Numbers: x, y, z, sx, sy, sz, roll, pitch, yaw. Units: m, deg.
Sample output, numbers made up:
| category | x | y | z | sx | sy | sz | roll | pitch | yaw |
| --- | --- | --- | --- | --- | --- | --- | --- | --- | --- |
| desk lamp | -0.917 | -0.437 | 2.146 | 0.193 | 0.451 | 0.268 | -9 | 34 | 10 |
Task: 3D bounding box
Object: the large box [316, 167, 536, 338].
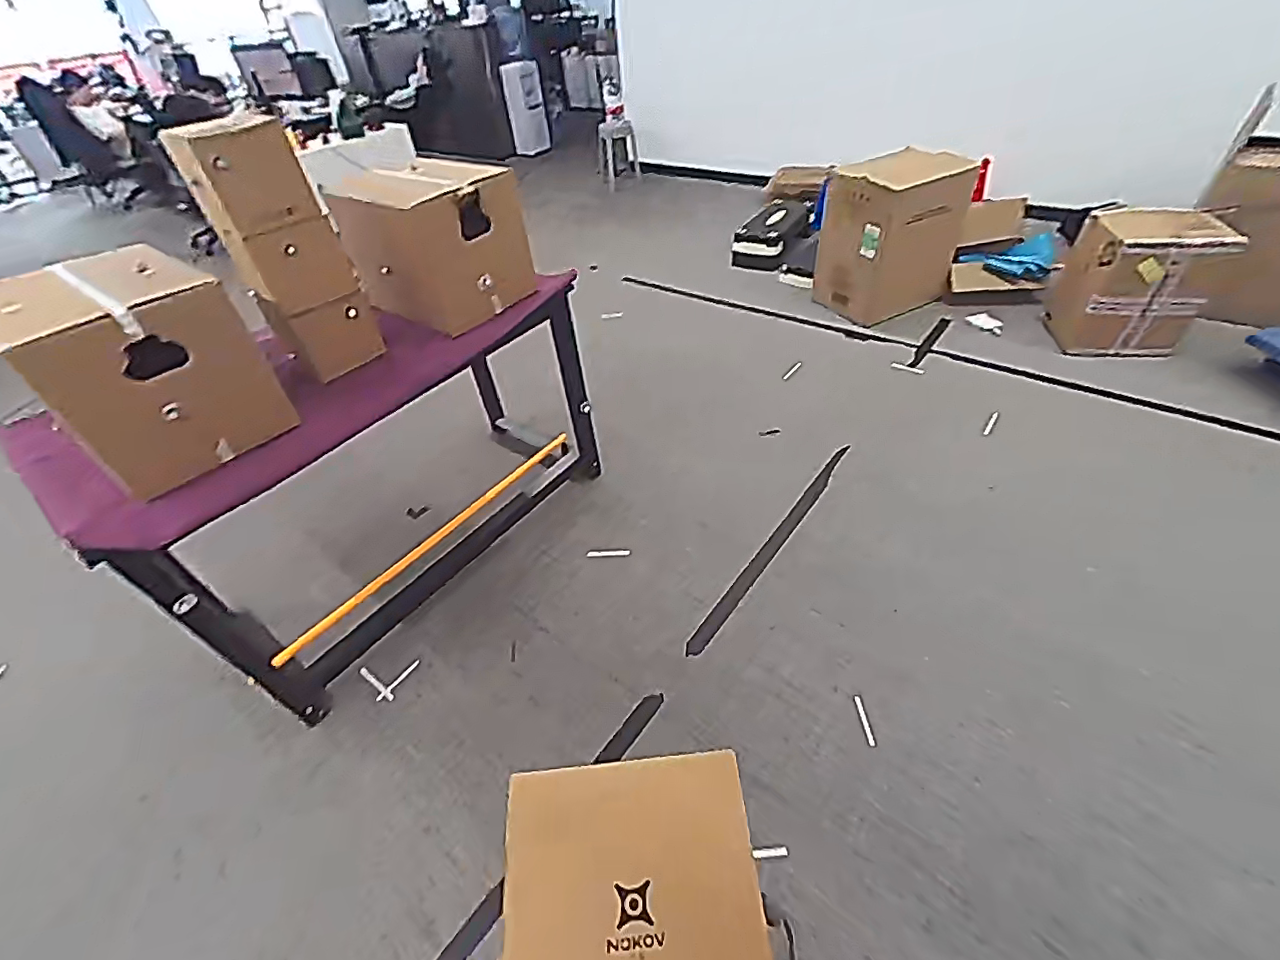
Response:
| category | x | y | z | sx | sy | sz | roll | pitch | yaw |
| --- | --- | --- | --- | --- | --- | --- | --- | --- | --- |
| large box | -0.550 | -0.614 | 1.441 | 0.408 | 0.320 | 0.320 | 23 | 50 | 30 |
